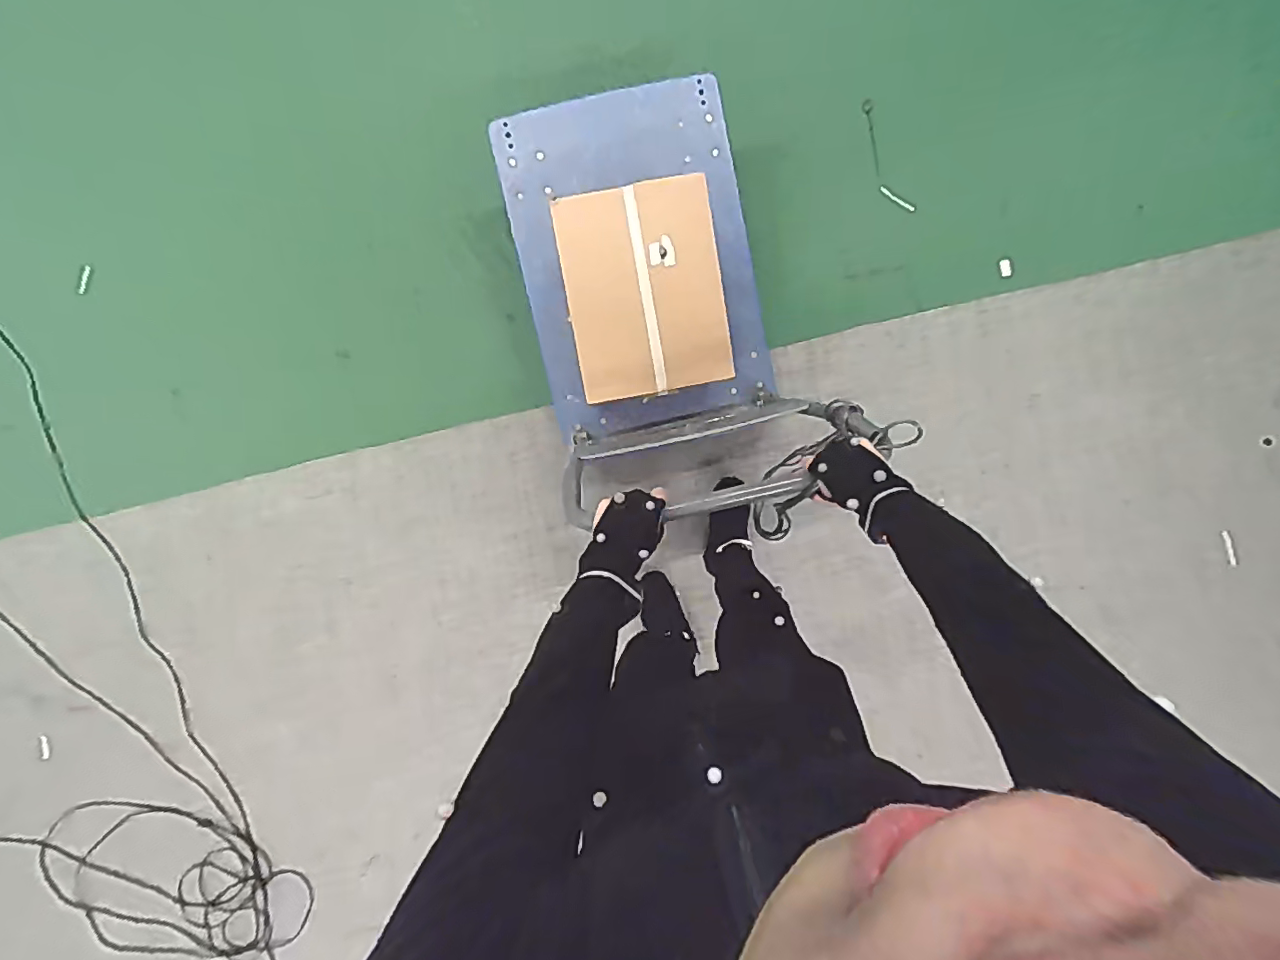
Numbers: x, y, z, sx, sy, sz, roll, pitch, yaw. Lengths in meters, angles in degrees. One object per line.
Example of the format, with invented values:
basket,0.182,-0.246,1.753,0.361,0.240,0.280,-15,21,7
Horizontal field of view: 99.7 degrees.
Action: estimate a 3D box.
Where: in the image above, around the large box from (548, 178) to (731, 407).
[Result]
large box,0.000,-0.392,1.234,0.320,0.320,0.408,-10,97,-1
